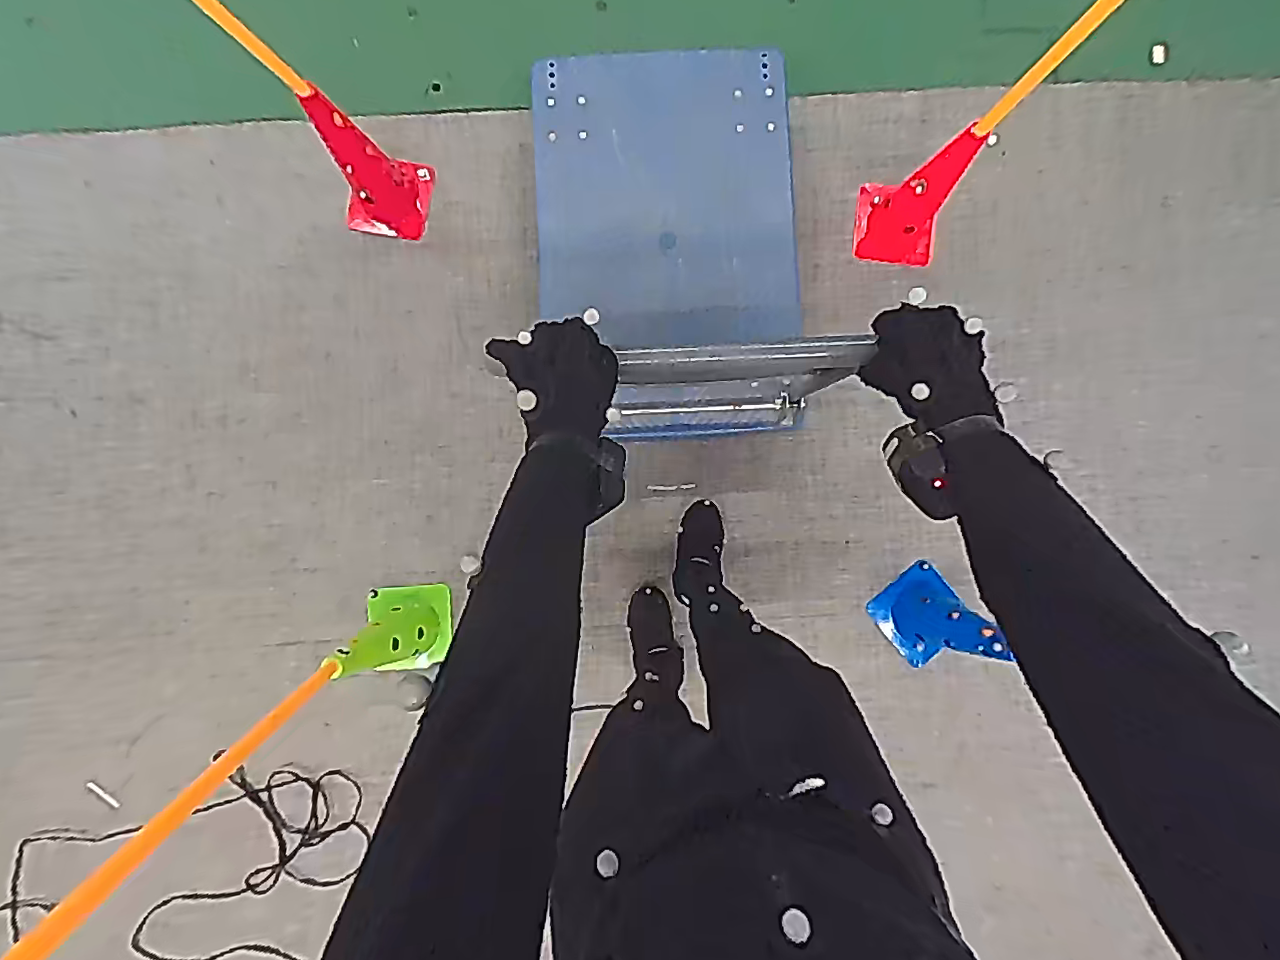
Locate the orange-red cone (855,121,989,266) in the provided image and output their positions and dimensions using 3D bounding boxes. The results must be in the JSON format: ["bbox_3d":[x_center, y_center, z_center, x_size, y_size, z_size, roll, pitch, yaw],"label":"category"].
[{"bbox_3d":[0.655,-0.661,1.212,0.198,0.360,0.199,8,87,1],"label":"orange-red cone"}]
